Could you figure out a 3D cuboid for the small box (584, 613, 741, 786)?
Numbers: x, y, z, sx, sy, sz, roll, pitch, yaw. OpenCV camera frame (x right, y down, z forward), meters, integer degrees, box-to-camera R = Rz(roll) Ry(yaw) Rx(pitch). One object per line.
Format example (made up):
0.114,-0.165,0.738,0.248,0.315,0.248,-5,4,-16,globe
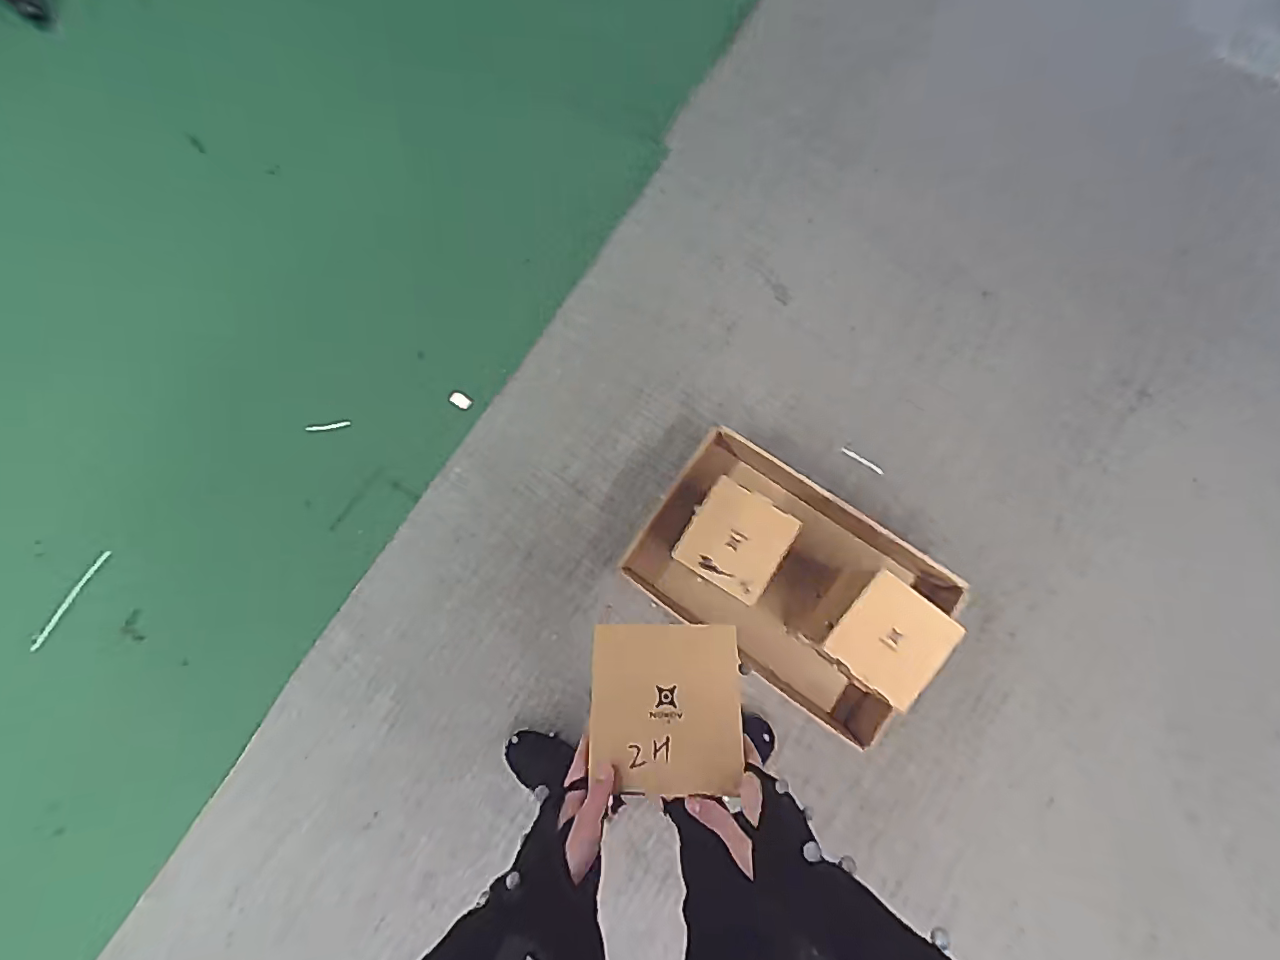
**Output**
0.029,0.265,0.663,0.168,0.176,0.179,-2,68,4,small box

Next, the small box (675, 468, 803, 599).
0.179,0.105,1.026,0.168,0.176,0.179,33,85,10,small box

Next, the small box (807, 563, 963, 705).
0.428,0.265,0.983,0.168,0.176,0.179,39,88,9,small box
